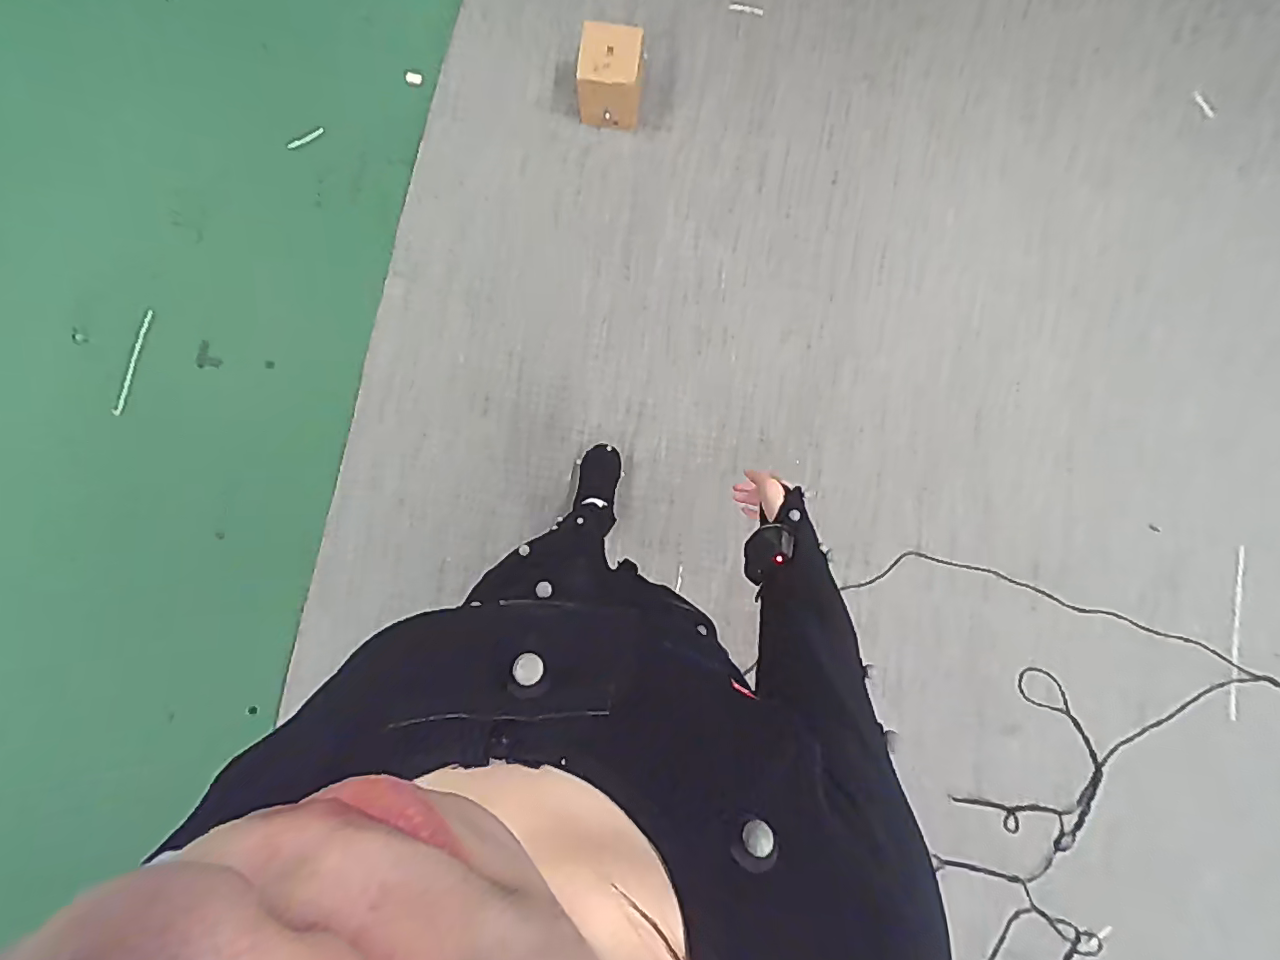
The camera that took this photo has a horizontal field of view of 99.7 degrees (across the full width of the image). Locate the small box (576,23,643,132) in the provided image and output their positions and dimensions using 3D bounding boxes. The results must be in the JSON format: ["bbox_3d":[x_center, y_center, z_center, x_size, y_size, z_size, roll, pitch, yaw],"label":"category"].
[{"bbox_3d":[-0.084,-1.145,1.546,0.168,0.176,0.179,7,84,1],"label":"small box"}]
